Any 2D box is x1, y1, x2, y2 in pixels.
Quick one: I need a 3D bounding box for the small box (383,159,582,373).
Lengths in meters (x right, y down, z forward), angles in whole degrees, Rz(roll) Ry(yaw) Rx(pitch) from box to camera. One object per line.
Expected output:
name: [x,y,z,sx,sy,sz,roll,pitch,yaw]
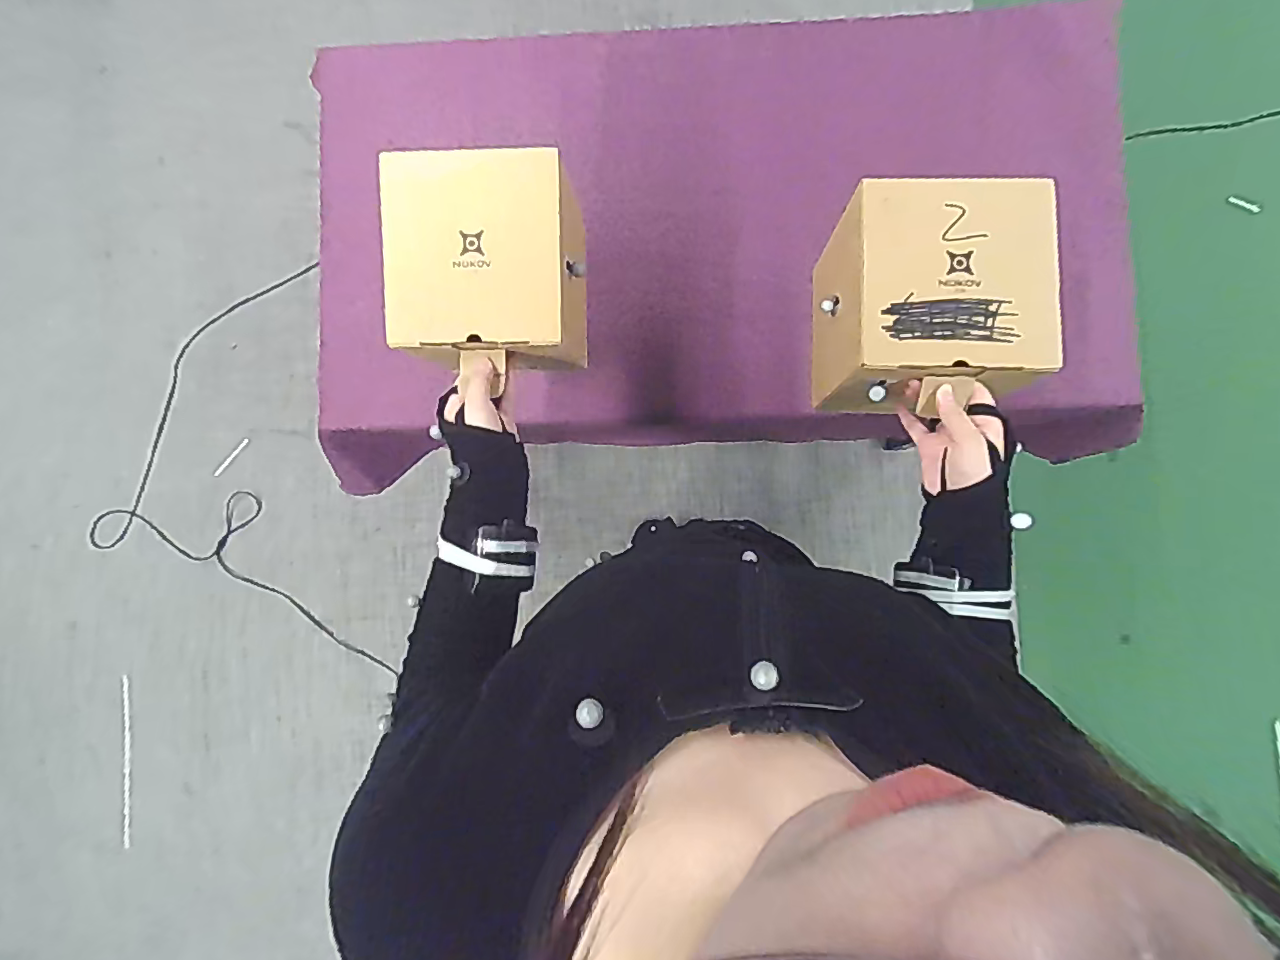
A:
small box: [-0.157,-0.216,0.587,0.168,0.176,0.179,-1,94,2]
